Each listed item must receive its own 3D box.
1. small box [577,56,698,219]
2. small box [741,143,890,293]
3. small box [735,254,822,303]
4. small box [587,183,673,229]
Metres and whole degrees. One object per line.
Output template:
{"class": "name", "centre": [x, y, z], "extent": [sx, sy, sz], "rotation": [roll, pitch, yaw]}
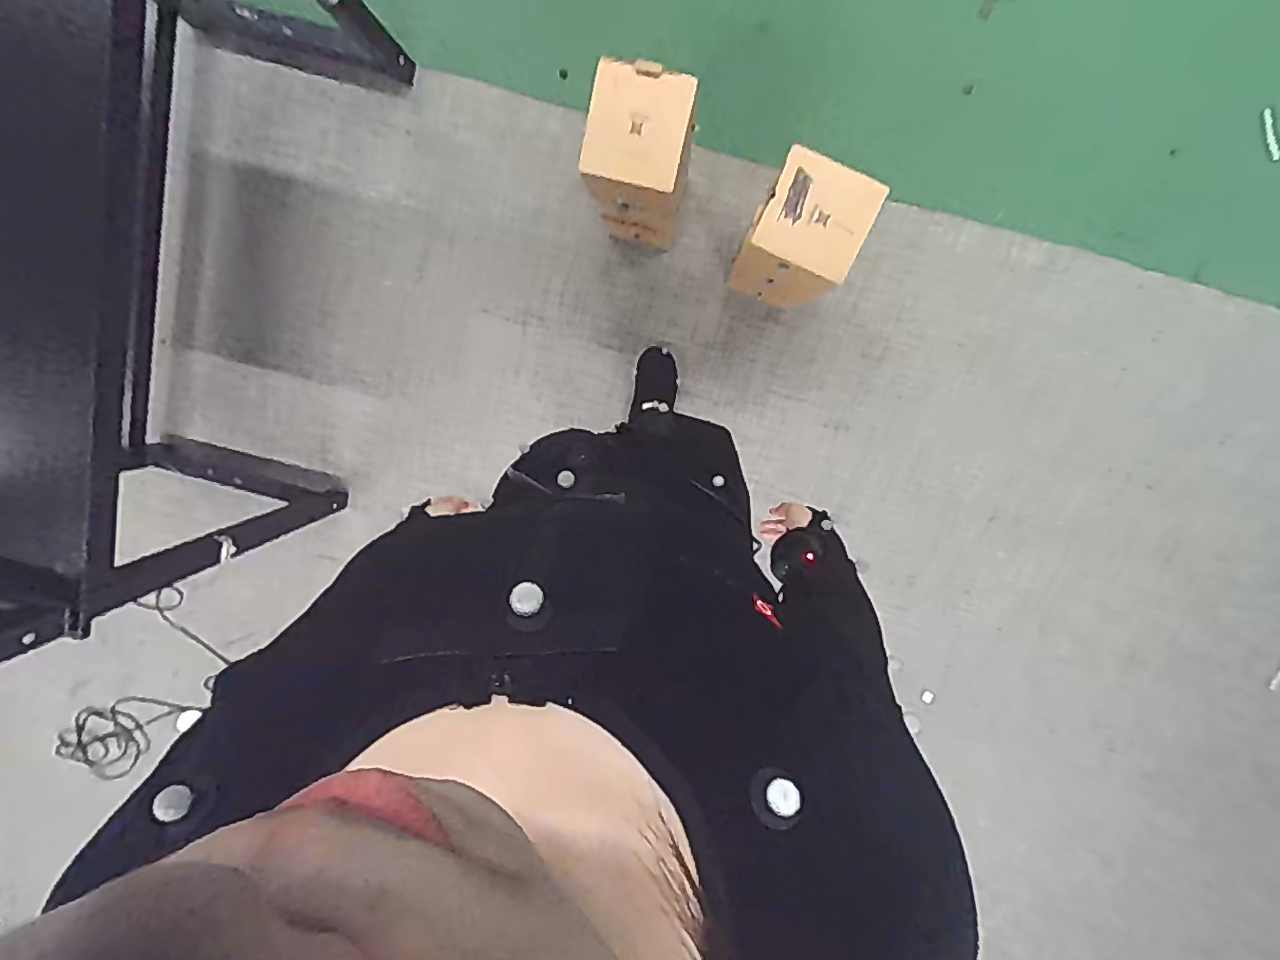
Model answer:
{"class": "small box", "centre": [-0.001, -0.587, 0.948], "extent": [0.168, 0.176, 0.179], "rotation": [13, 102, 2]}
{"class": "small box", "centre": [0.295, -0.447, 0.956], "extent": [0.179, 0.176, 0.168], "rotation": [24, 103, -2]}
{"class": "small box", "centre": [0.312, -0.479, 1.116], "extent": [0.179, 0.176, 0.168], "rotation": [27, 103, -2]}
{"class": "small box", "centre": [0.001, -0.636, 1.105], "extent": [0.168, 0.176, 0.179], "rotation": [15, 101, 1]}
